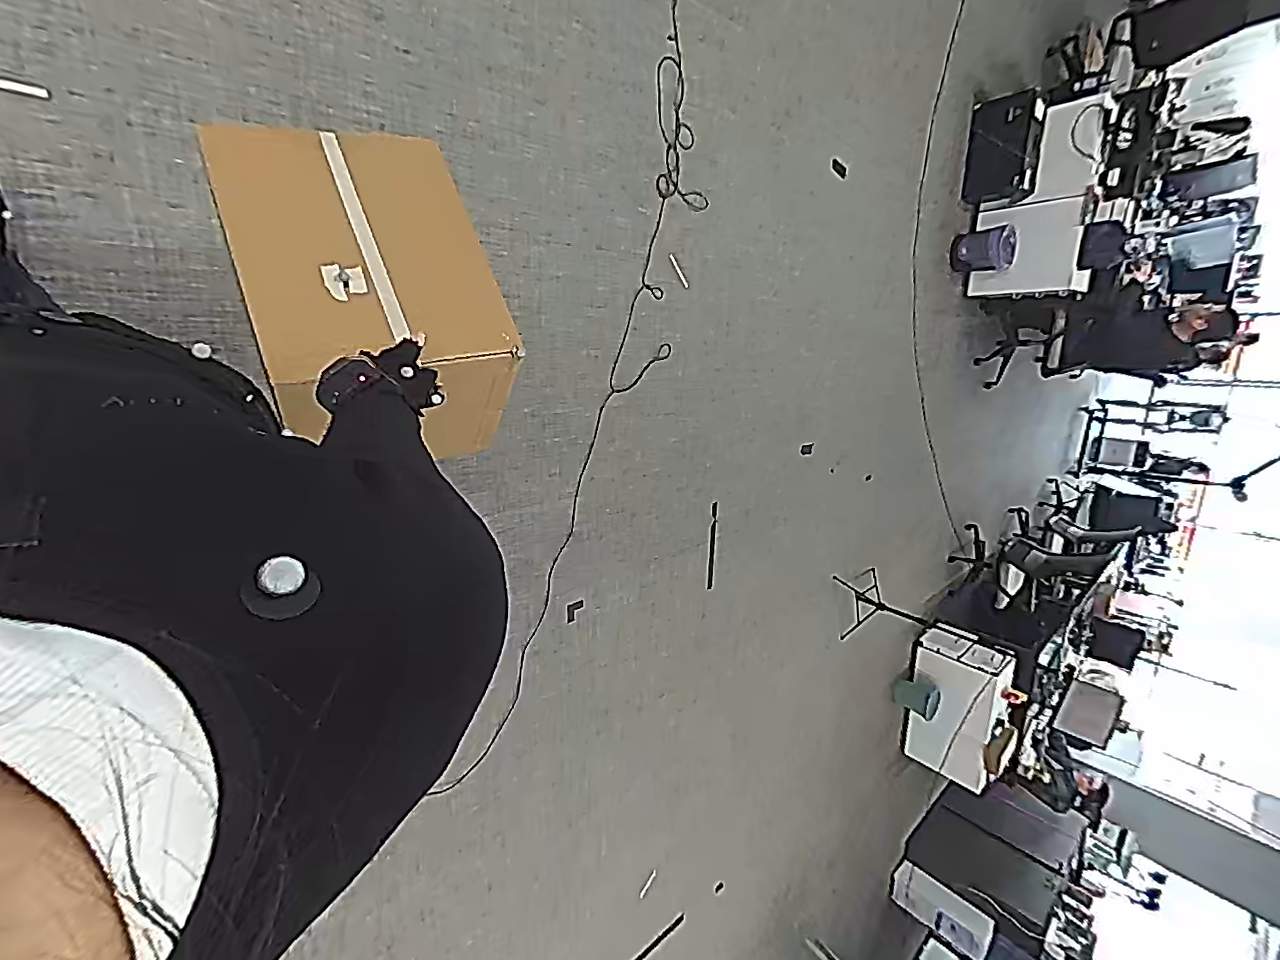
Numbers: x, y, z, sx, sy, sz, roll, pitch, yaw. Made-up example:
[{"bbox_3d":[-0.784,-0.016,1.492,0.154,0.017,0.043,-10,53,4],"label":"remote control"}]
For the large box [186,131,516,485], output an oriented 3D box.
[{"bbox_3d":[-0.443,-0.258,0.860,0.320,0.320,0.408,-17,76,-30],"label":"large box"}]
